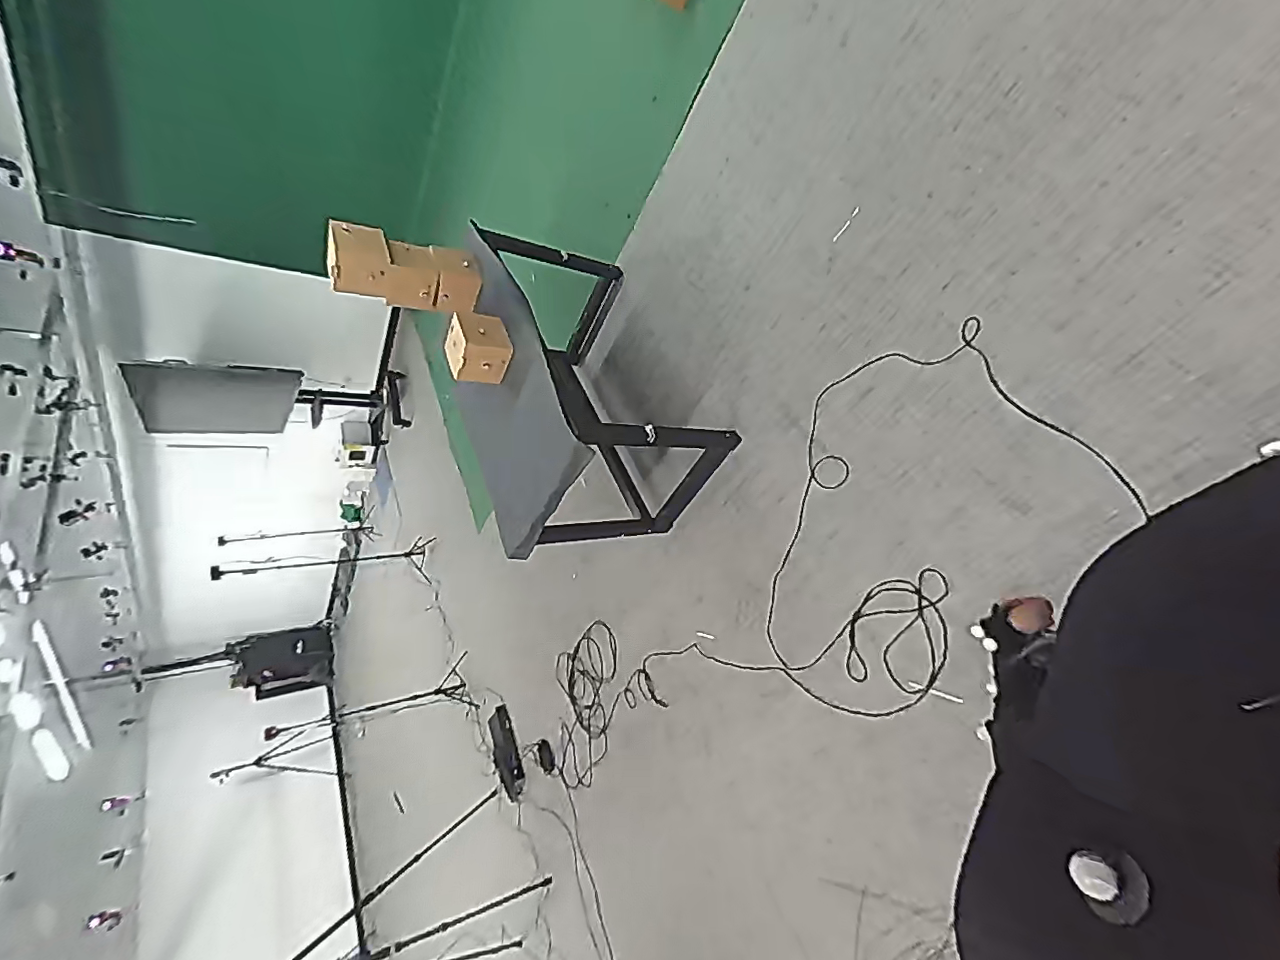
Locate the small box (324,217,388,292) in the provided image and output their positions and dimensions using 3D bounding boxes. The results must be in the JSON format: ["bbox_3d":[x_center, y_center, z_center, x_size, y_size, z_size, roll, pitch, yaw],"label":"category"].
[{"bbox_3d":[-0.991,-0.776,1.882,0.168,0.176,0.179,-55,51,41],"label":"small box"}]

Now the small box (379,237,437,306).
[{"bbox_3d":[-0.863,-0.759,1.988,0.179,0.176,0.168,58,136,31],"label":"small box"}]

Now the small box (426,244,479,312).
[{"bbox_3d":[-0.738,-0.774,2.090,0.179,0.176,0.168,-50,55,42],"label":"small box"}]

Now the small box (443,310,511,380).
[{"bbox_3d":[-0.570,-0.466,1.890,0.168,0.176,0.179,-54,52,39],"label":"small box"}]
